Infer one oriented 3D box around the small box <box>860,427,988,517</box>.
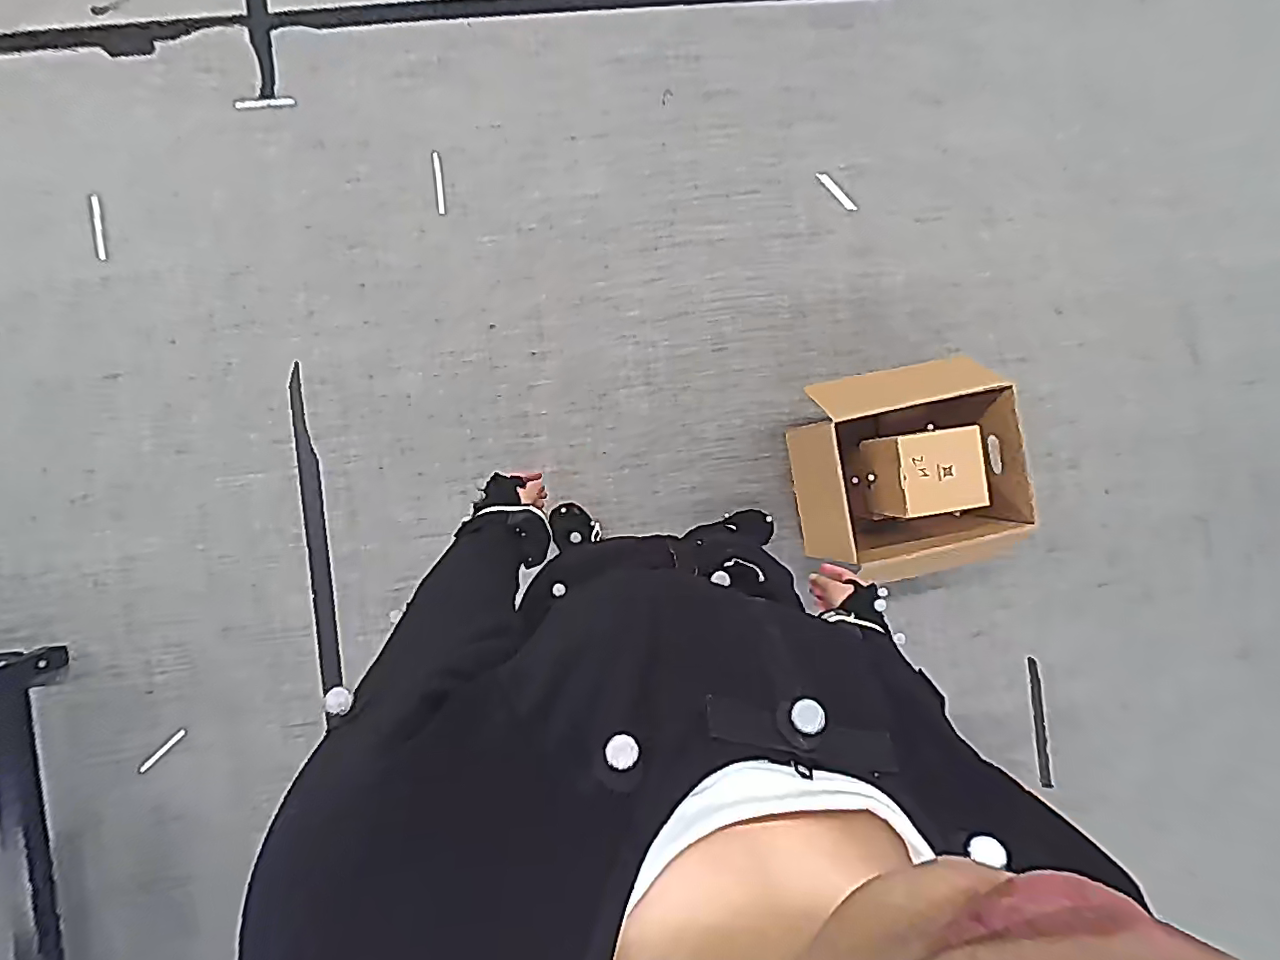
[{"bbox_3d":[0.605,-0.019,1.167,0.179,0.176,0.168,-8,91,-3],"label":"small box"}]
